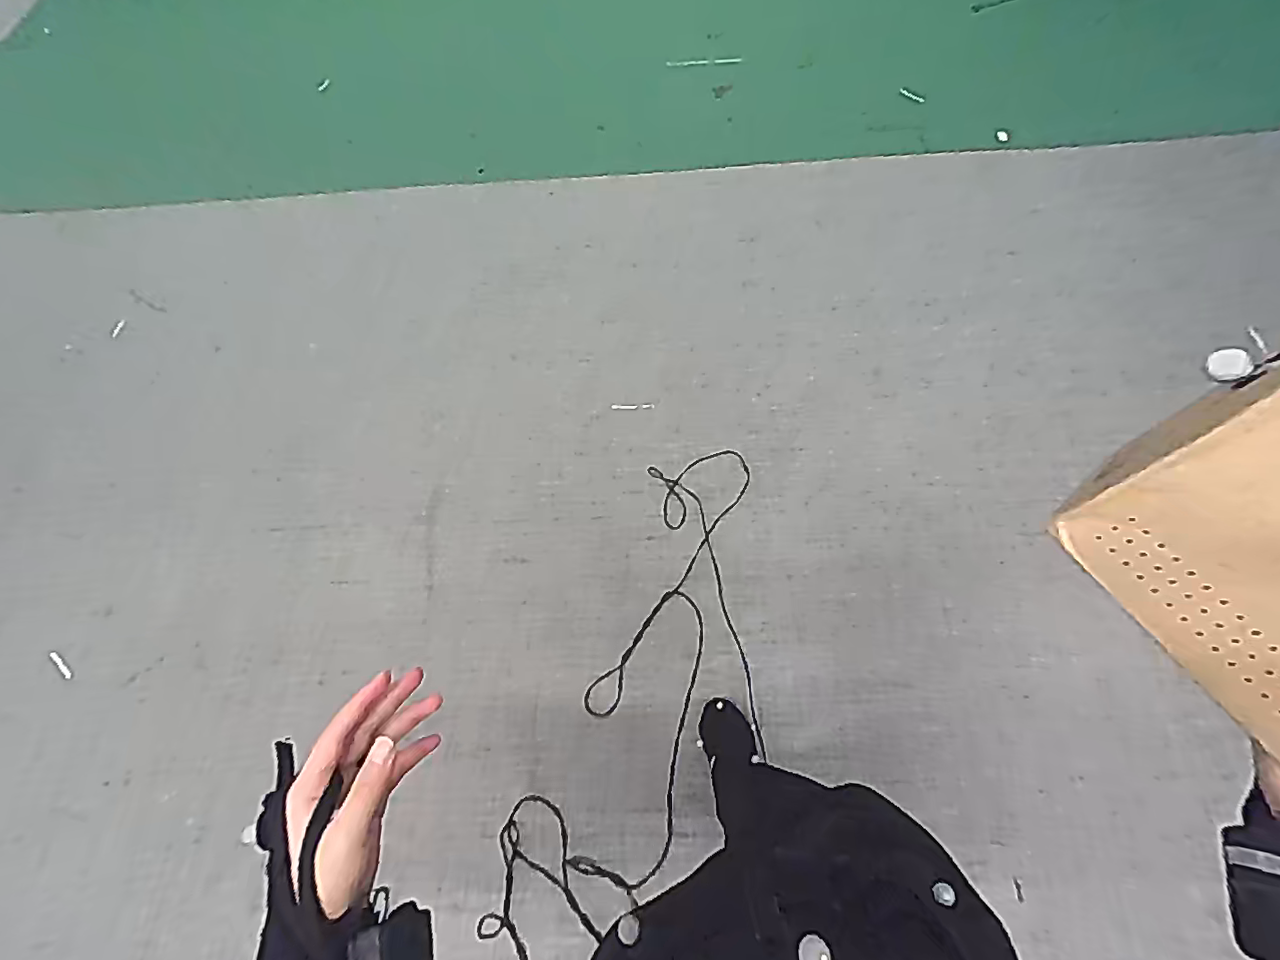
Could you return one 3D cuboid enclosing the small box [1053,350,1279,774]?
[{"bbox_3d":[0.312,0.024,0.205,0.168,0.176,0.179,-17,62,-40],"label":"small box"}]
